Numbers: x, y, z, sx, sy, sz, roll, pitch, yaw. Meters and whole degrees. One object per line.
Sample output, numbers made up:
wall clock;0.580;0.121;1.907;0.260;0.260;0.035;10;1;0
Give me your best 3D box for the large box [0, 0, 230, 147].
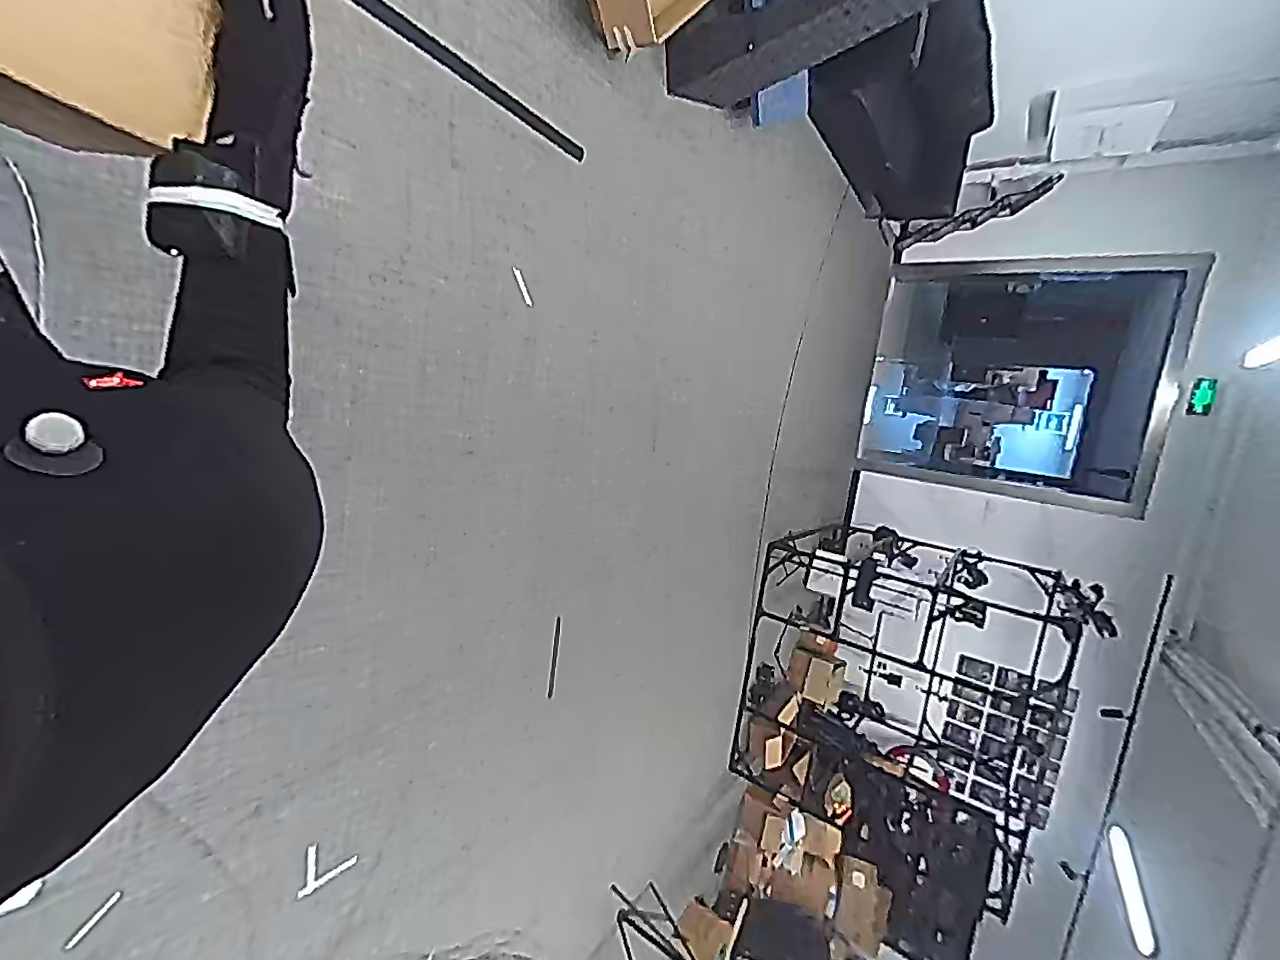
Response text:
large box;-0.508;-0.451;0.291;0.408;0.320;0.320;6;105;-61
